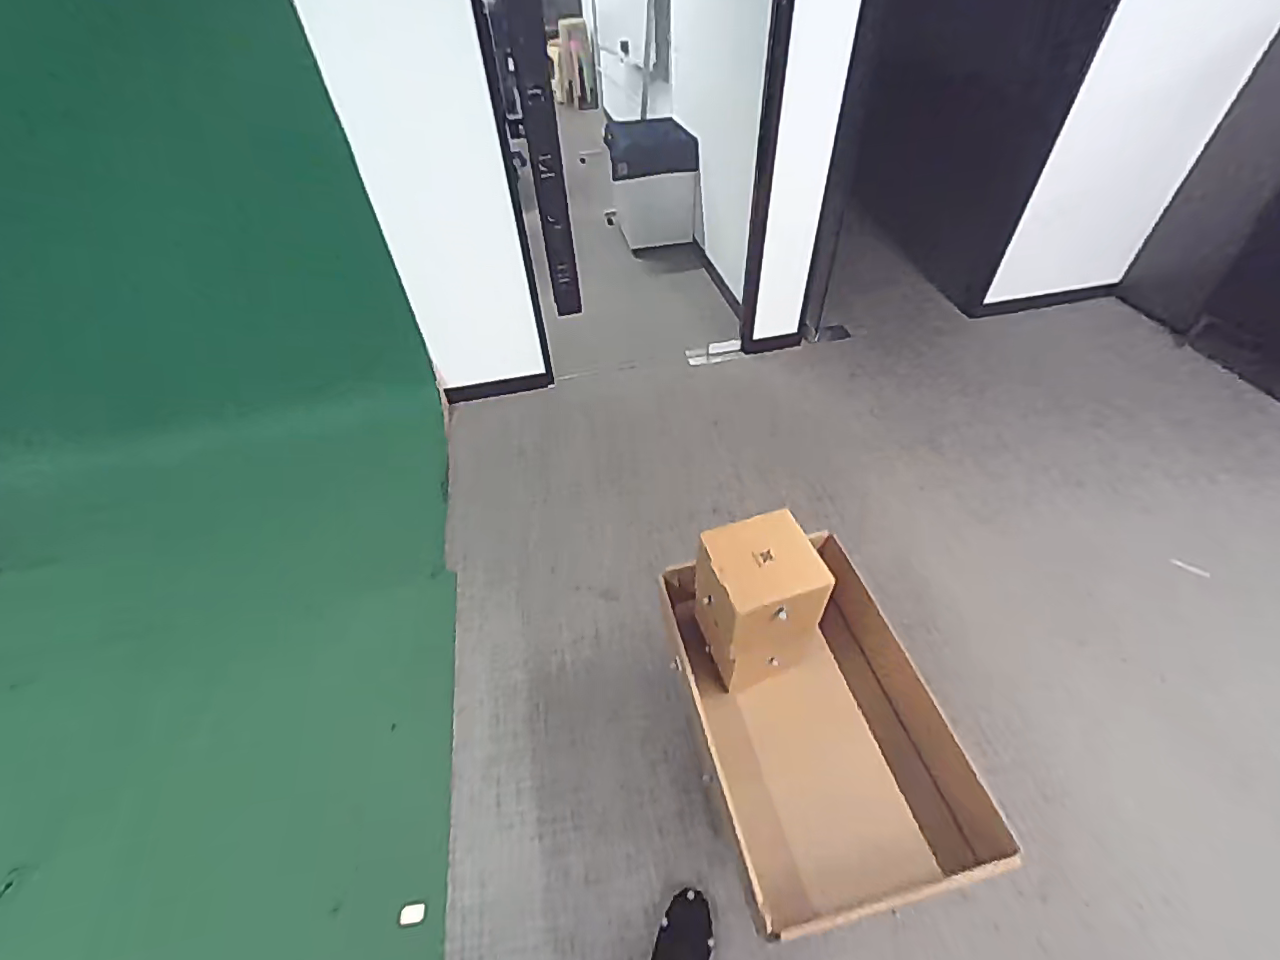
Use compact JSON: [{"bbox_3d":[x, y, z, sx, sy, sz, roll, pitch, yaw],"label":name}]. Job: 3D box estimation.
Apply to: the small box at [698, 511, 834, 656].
[{"bbox_3d":[0.213,0.187,0.967,0.179,0.176,0.168,-16,48,-9],"label":"small box"}]
